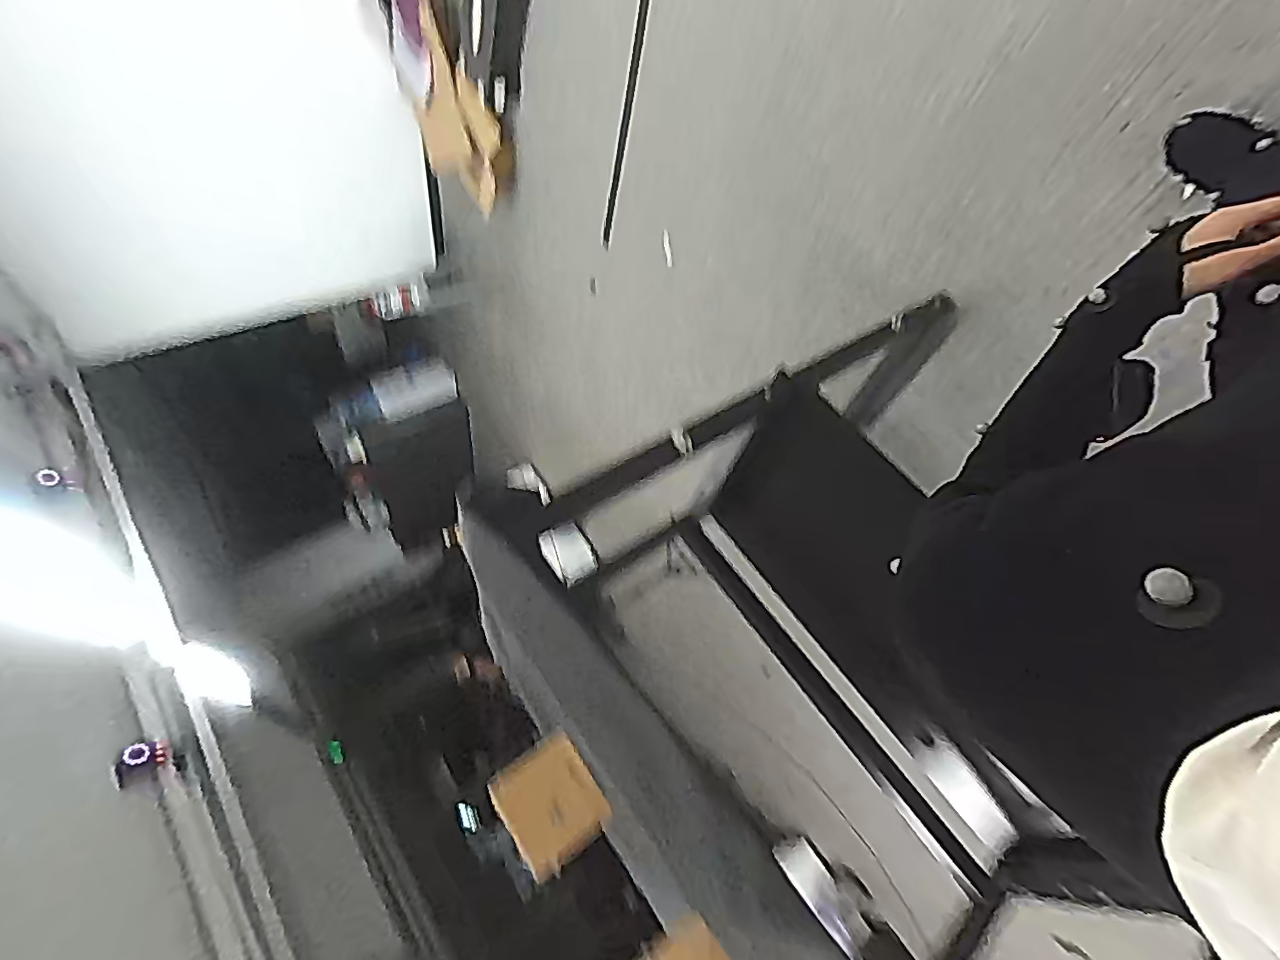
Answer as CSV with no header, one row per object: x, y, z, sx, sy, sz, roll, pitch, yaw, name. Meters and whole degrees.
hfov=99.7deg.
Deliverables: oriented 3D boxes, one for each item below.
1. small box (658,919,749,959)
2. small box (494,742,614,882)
0.086,0.722,0.706,0.168,0.176,0.179,47,150,23,small box
-0.169,0.645,1.062,0.168,0.176,0.179,50,150,20,small box
